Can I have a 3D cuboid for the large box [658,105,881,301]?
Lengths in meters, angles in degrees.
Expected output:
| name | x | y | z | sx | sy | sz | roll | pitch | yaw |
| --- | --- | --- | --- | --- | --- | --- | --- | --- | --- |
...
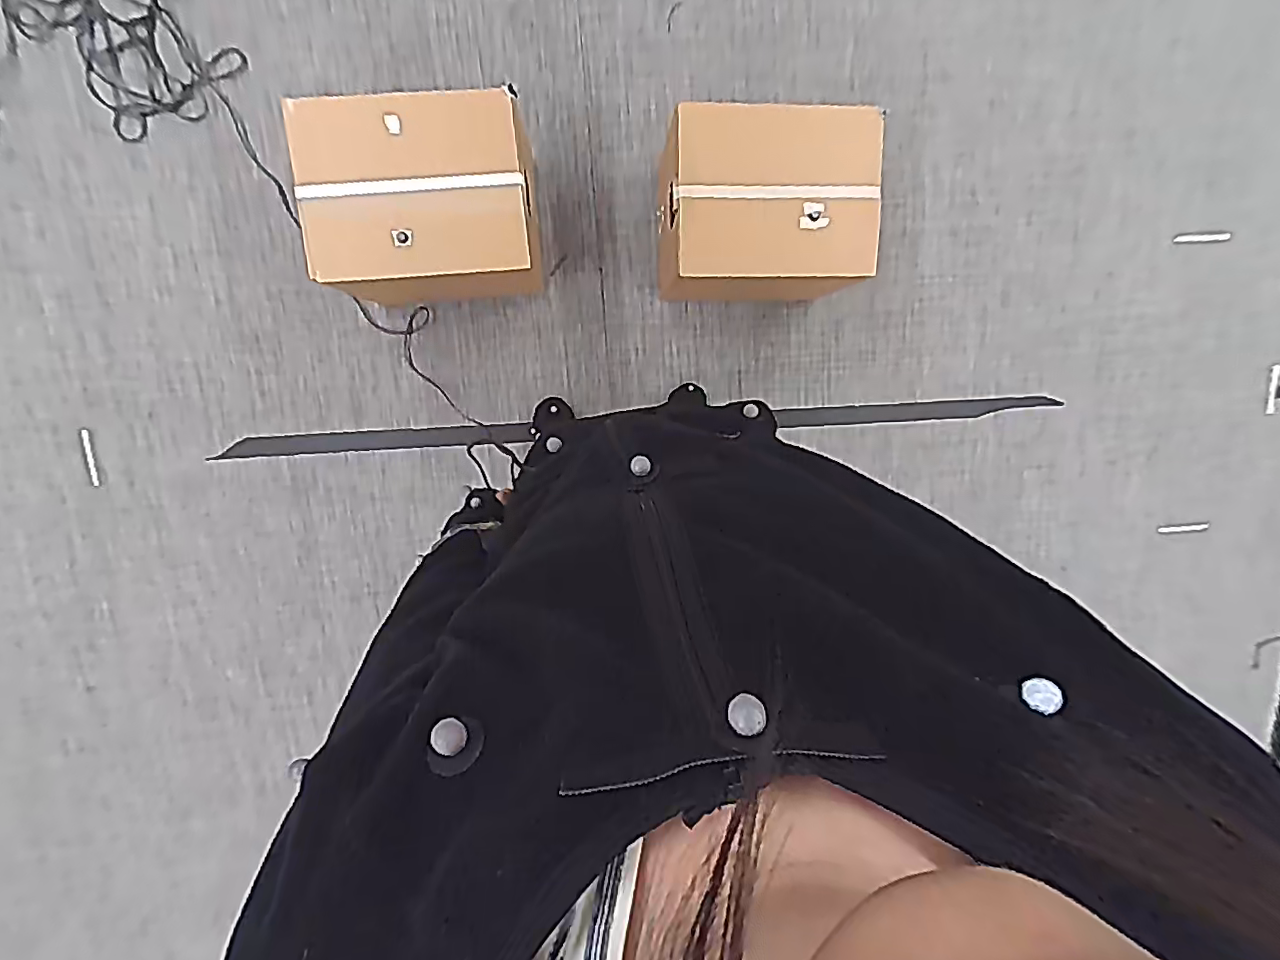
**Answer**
| name | x | y | z | sx | sy | sz | roll | pitch | yaw |
| --- | --- | --- | --- | --- | --- | --- | --- | --- | --- |
| large box | 0.260 | -0.585 | 1.204 | 0.408 | 0.320 | 0.320 | -2 | 100 | -5 |
